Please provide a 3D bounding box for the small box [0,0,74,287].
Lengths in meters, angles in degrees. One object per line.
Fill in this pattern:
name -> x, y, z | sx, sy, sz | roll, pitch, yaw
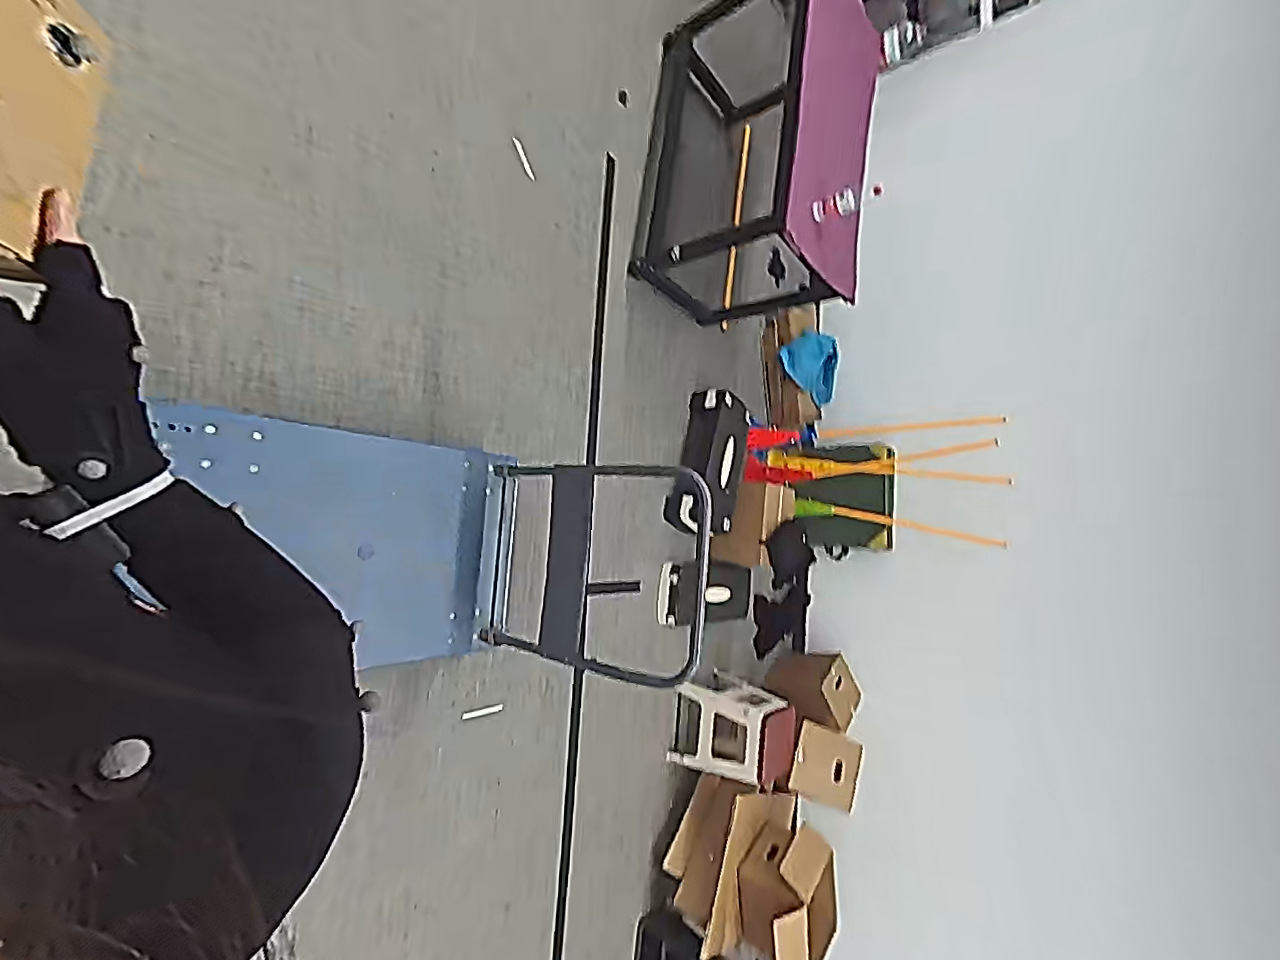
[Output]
small box -> -0.428, -0.215, 0.253 | 0.179, 0.168, 0.176 | 5, 84, -10
